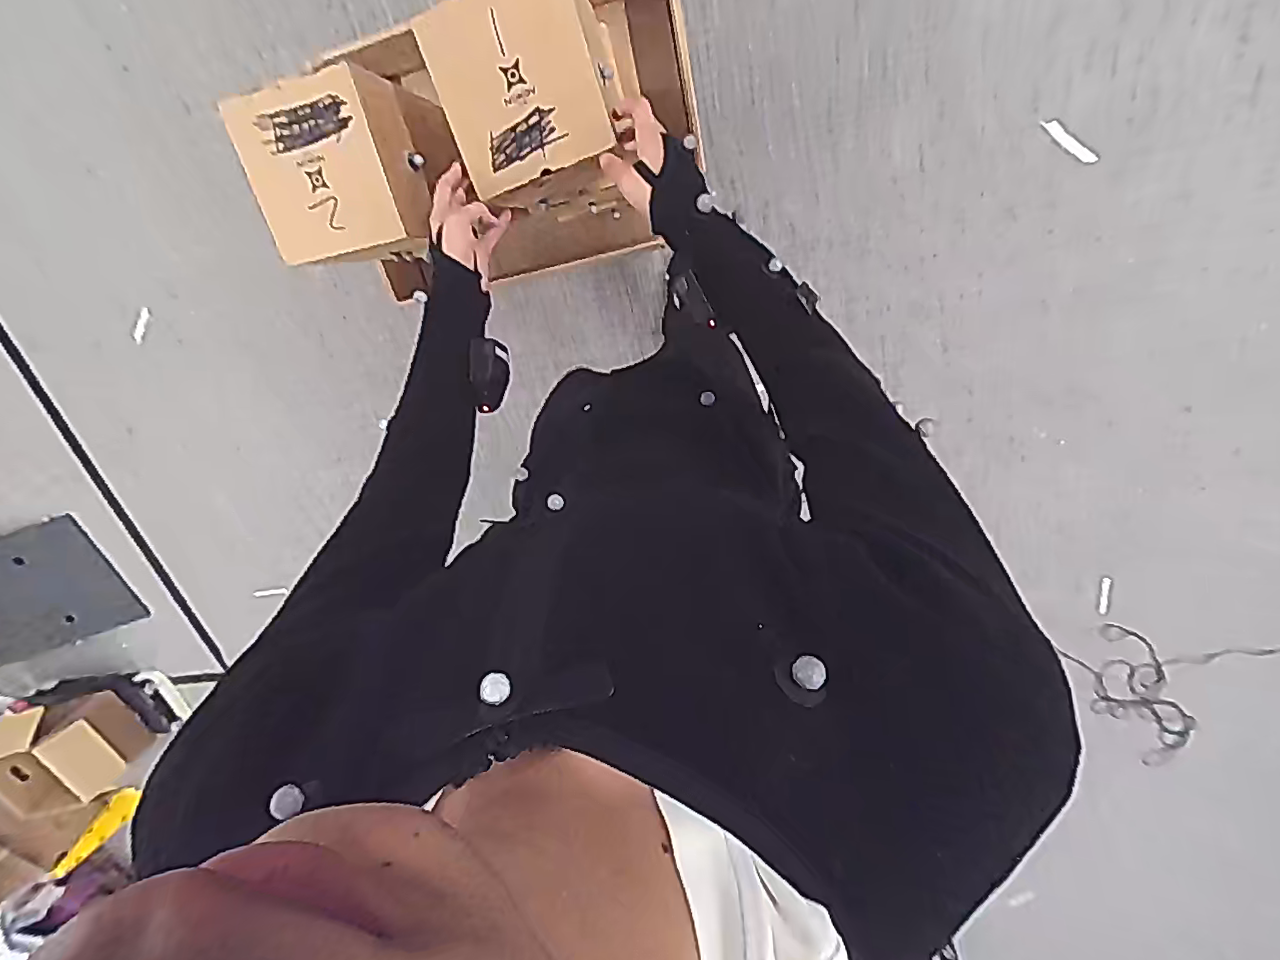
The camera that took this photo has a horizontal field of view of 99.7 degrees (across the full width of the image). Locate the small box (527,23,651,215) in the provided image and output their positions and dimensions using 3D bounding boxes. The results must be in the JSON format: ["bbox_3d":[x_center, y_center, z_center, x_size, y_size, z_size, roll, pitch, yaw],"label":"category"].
[{"bbox_3d":[-0.088,-0.496,0.774,0.168,0.176,0.179,-12,113,13],"label":"small box"}]

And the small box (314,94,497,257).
[{"bbox_3d":[-0.343,-0.449,0.828,0.168,0.176,0.179,-8,112,12],"label":"small box"}]

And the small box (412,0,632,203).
[{"bbox_3d":[-0.117,-0.438,0.623,0.168,0.176,0.179,-14,111,13],"label":"small box"}]
